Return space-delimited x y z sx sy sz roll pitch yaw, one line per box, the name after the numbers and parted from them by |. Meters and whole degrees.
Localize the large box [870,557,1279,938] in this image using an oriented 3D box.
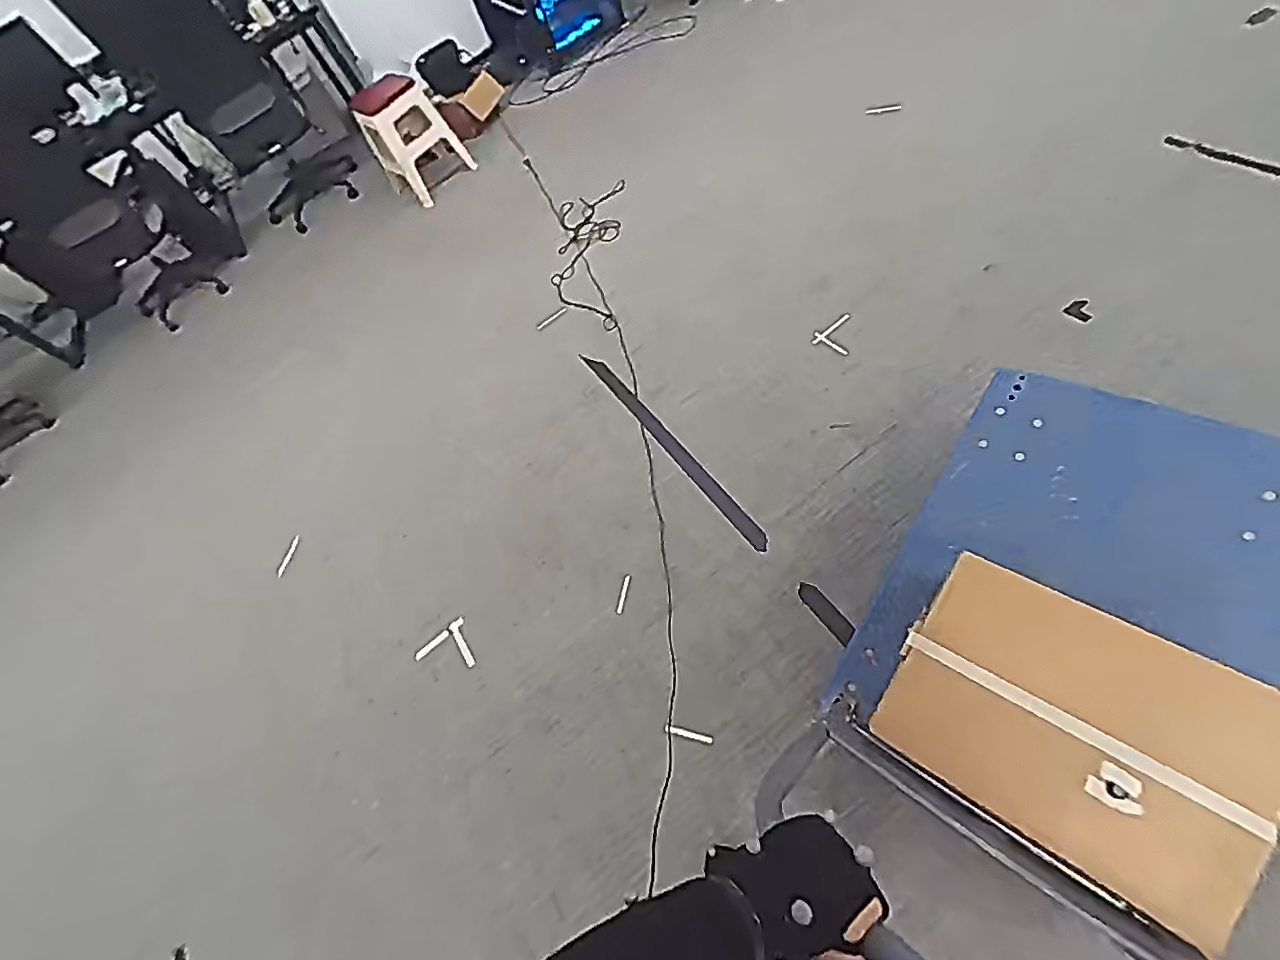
0.630 0.371 0.864 0.408 0.320 0.320 28 86 29 | large box
